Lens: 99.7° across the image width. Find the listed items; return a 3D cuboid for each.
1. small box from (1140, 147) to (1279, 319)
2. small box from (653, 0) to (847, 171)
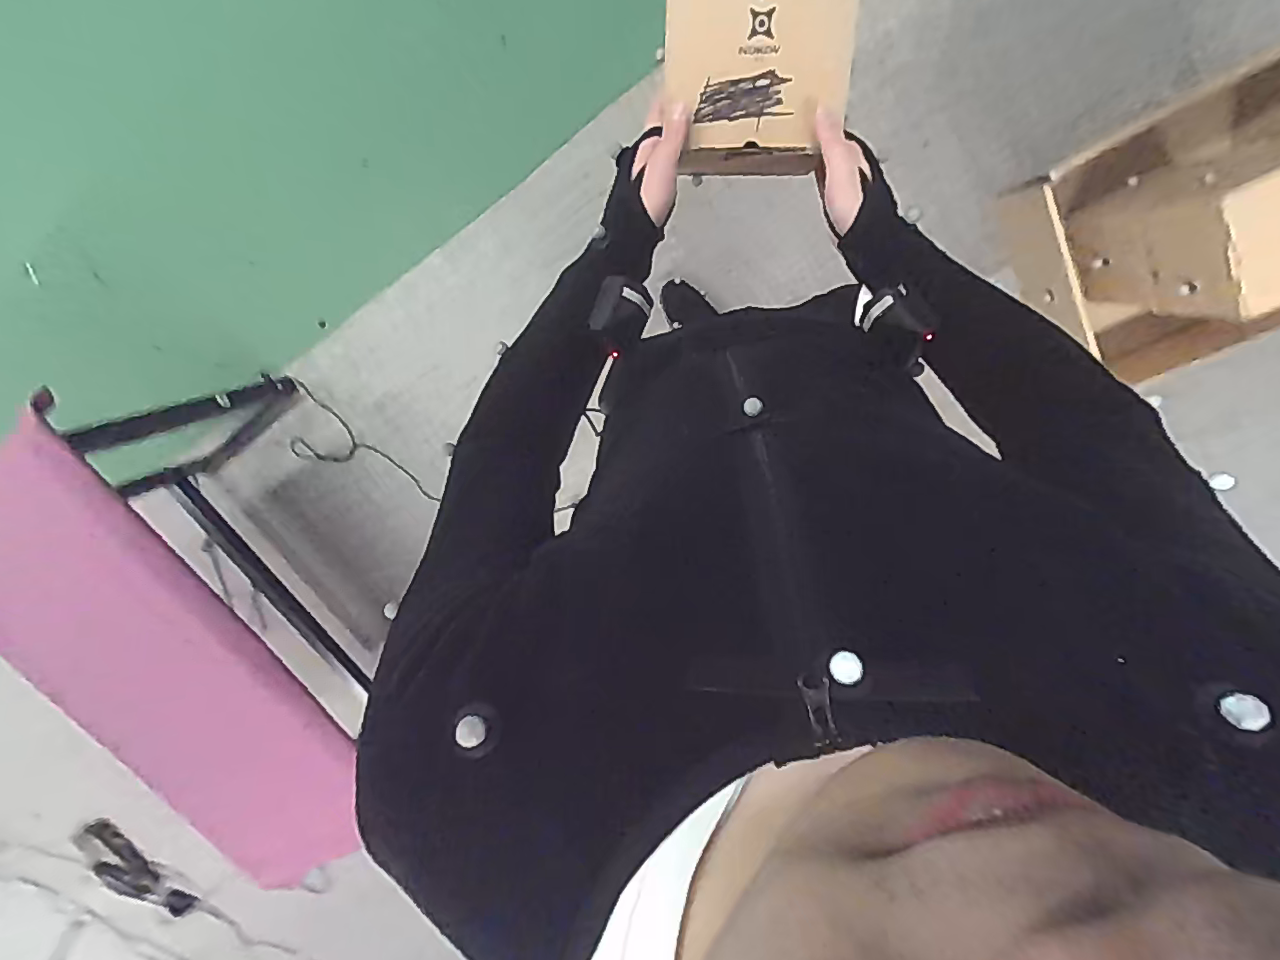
[{"bbox_3d":[0.832,-0.336,0.731,0.179,0.176,0.168,-25,106,16],"label":"small box"},{"bbox_3d":[0.103,-0.420,0.545,0.168,0.176,0.179,2,112,5],"label":"small box"}]
